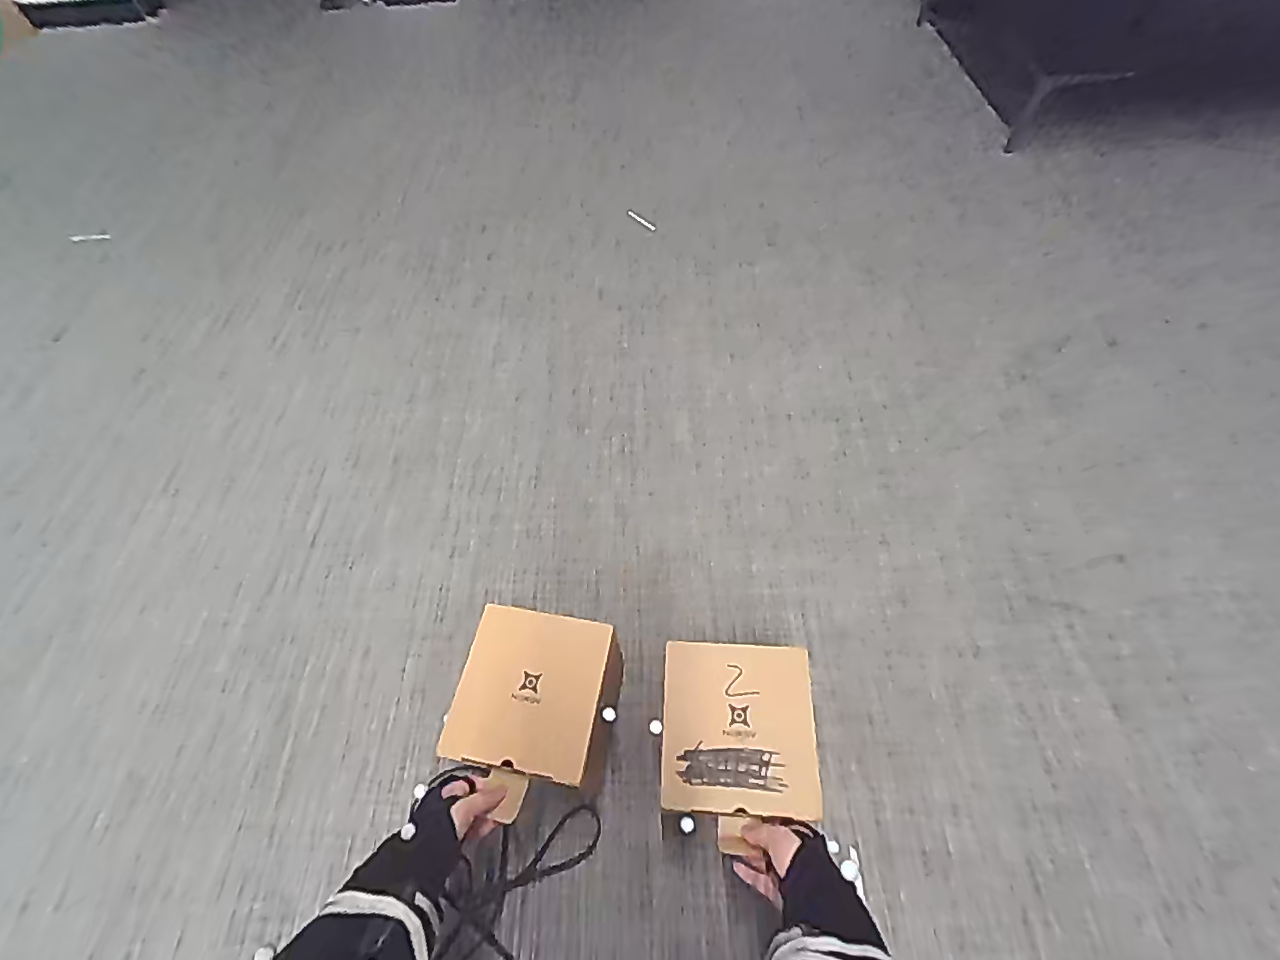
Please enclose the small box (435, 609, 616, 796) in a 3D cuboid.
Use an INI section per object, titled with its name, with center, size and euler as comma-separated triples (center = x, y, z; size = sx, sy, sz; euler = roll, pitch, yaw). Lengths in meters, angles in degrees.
[small box]
center = -0.128, 0.287, 0.691
size = 0.168, 0.176, 0.179
euler = 8, 59, 8
